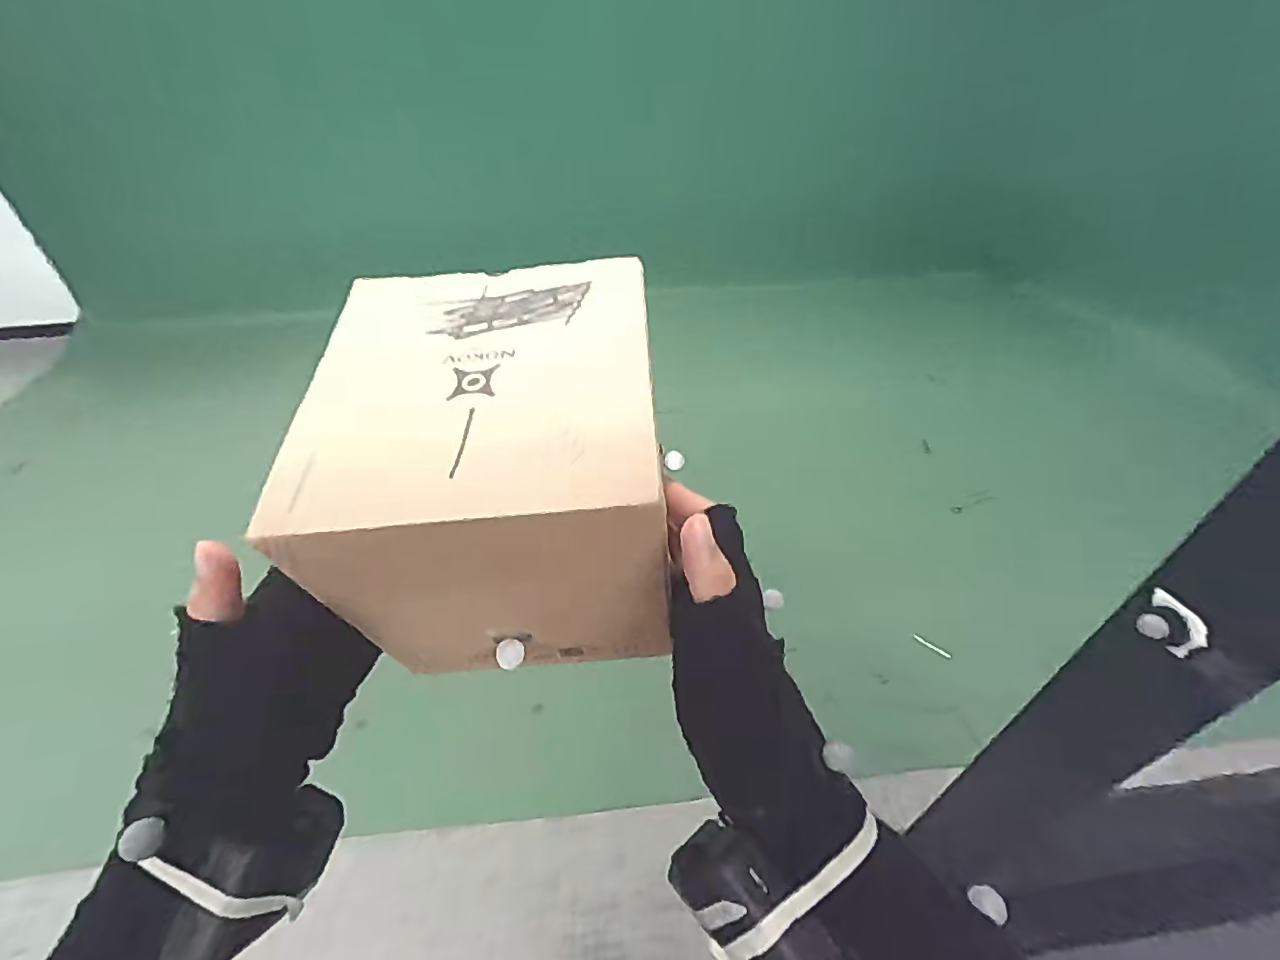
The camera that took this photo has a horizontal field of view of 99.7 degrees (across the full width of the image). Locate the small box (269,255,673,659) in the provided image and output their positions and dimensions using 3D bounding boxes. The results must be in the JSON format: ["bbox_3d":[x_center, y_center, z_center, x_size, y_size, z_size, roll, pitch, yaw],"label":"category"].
[{"bbox_3d":[-0.069,-0.009,0.331,0.168,0.176,0.179,-6,52,1],"label":"small box"}]
